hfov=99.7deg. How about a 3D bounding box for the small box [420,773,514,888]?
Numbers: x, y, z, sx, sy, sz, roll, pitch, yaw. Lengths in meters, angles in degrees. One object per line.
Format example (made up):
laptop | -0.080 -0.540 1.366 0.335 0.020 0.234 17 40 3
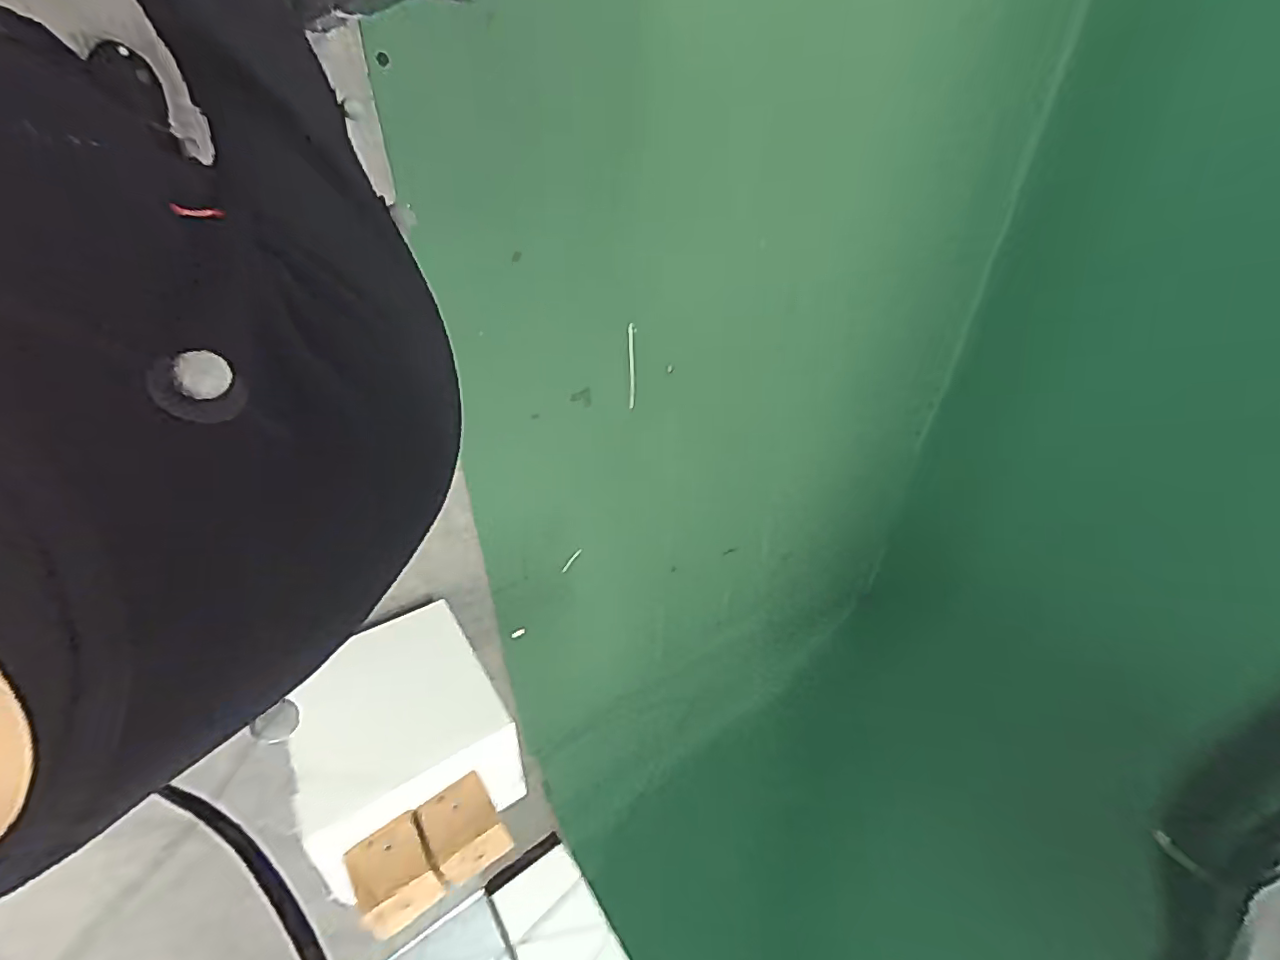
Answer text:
small box | -0.460 0.924 1.438 0.168 0.176 0.179 -28 134 -25
